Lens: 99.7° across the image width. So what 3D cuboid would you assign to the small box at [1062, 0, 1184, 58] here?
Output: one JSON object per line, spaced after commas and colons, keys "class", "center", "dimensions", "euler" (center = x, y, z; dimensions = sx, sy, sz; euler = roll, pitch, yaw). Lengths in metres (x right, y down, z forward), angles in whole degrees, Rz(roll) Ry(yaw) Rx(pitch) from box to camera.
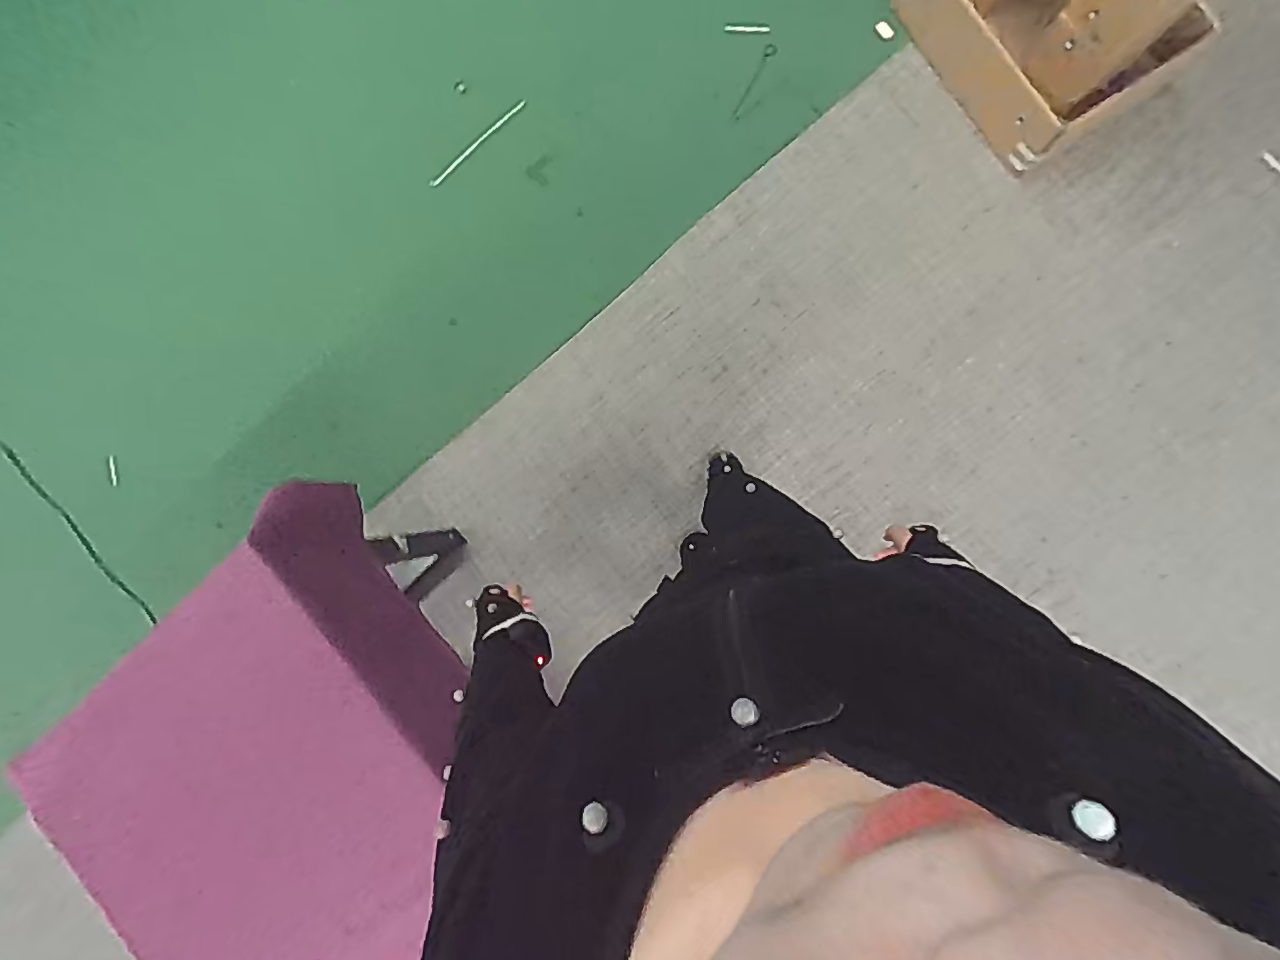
{"class": "small box", "center": [1.048, -1.051, 1.125], "dimensions": [0.179, 0.176, 0.168], "euler": [-33, 84, 6]}
